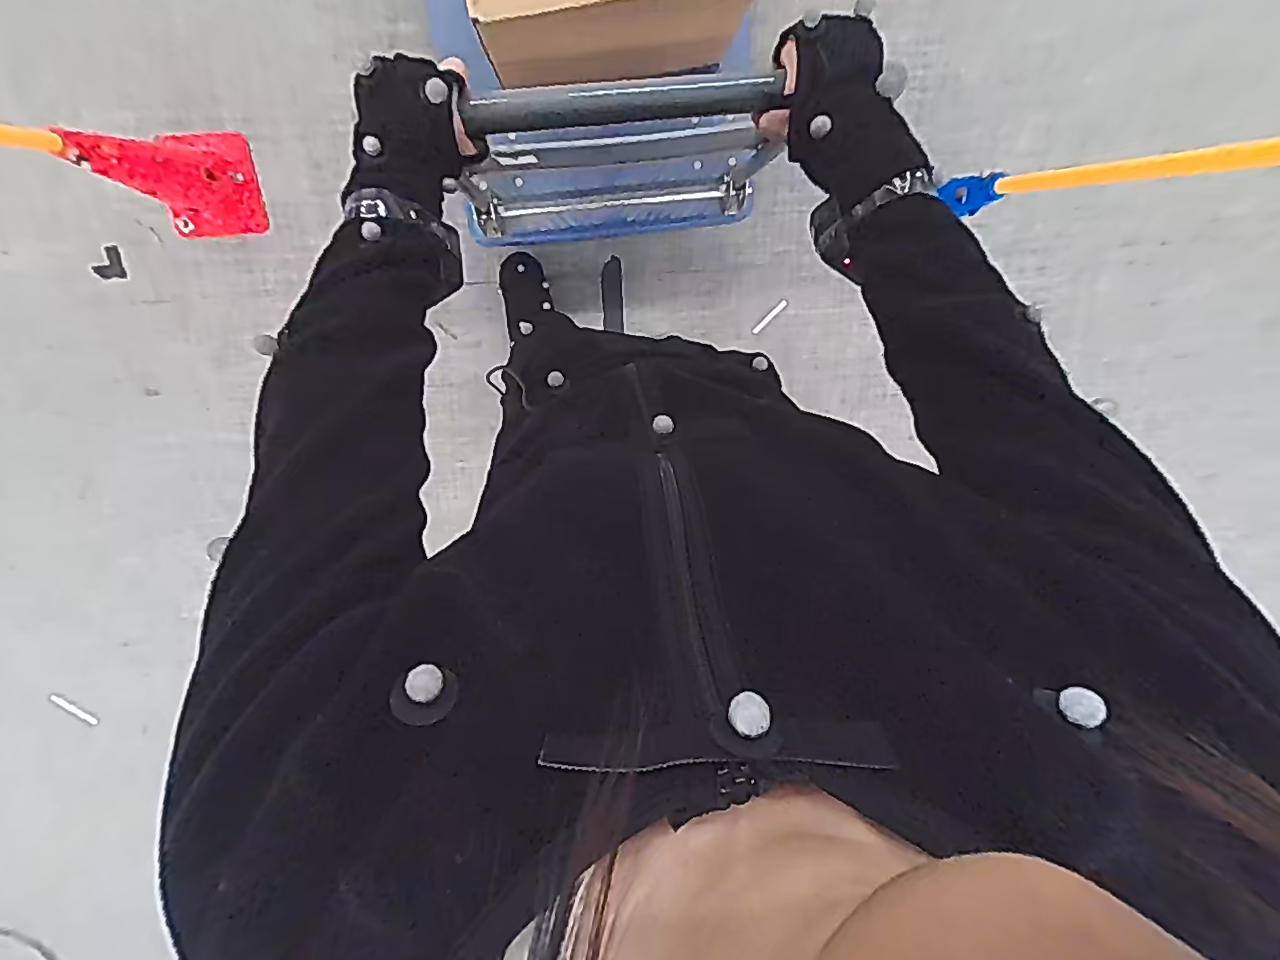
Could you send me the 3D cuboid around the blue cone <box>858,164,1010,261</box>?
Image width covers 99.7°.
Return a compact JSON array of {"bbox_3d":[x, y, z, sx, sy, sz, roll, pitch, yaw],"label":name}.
[{"bbox_3d":[0.622,-0.579,1.126,0.193,0.380,0.192,-7,107,-2],"label":"blue cone"}]
